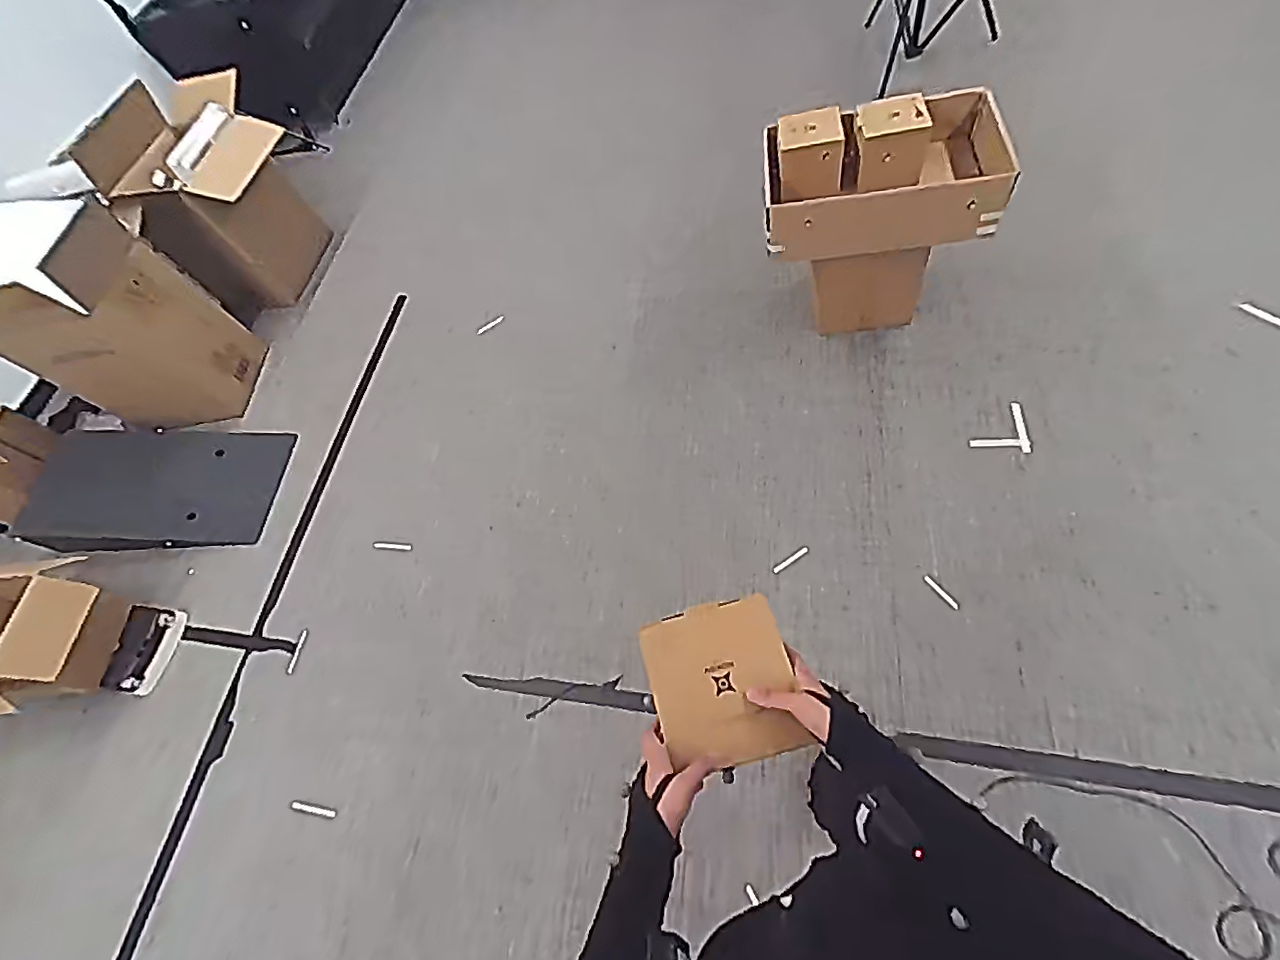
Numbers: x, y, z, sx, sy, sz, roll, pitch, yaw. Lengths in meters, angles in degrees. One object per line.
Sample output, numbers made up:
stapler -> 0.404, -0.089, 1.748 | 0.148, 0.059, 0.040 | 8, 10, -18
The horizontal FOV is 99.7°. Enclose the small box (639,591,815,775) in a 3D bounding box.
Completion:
small box -> 0.100, 0.266, 0.695 | 0.168, 0.176, 0.179 | -14, 61, -2
